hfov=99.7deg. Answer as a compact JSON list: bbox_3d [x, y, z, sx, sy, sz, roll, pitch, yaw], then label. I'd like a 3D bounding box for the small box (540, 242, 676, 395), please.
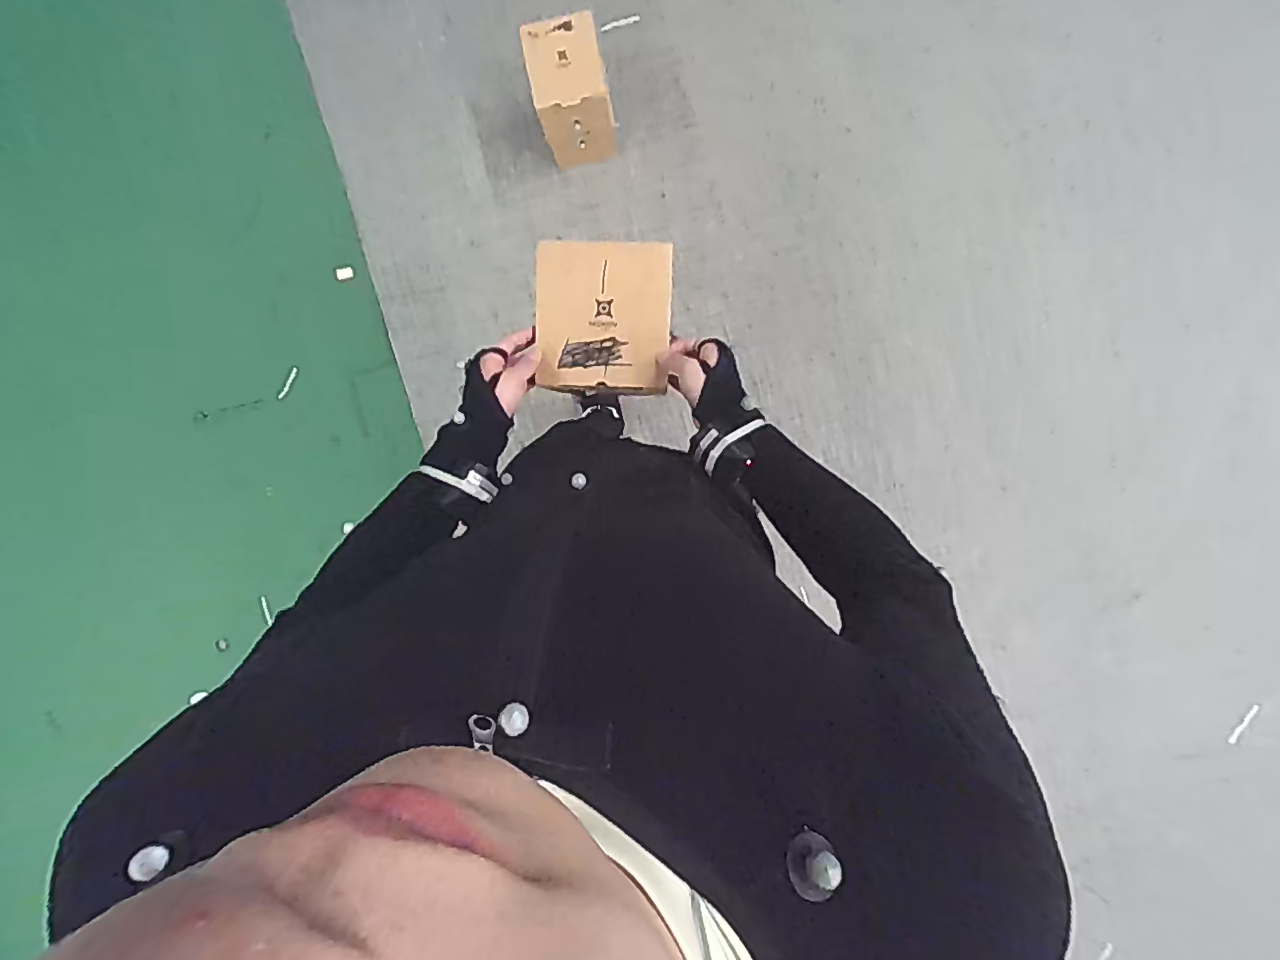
[{"bbox_3d":[-0.038,-0.212,0.751,0.168,0.176,0.179,3,95,1],"label":"small box"}]

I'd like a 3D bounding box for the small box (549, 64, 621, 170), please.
[{"bbox_3d":[-0.153,-0.953,1.438,0.179,0.176,0.168,-9,97,2],"label":"small box"}]

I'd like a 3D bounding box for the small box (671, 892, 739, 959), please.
[{"bbox_3d":[0.186,1.318,1.522,0.168,0.176,0.179,-14,95,3],"label":"small box"}]

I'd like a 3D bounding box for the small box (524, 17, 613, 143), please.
[{"bbox_3d":[-0.160,-0.928,1.276,0.168,0.176,0.179,-10,98,2],"label":"small box"}]
